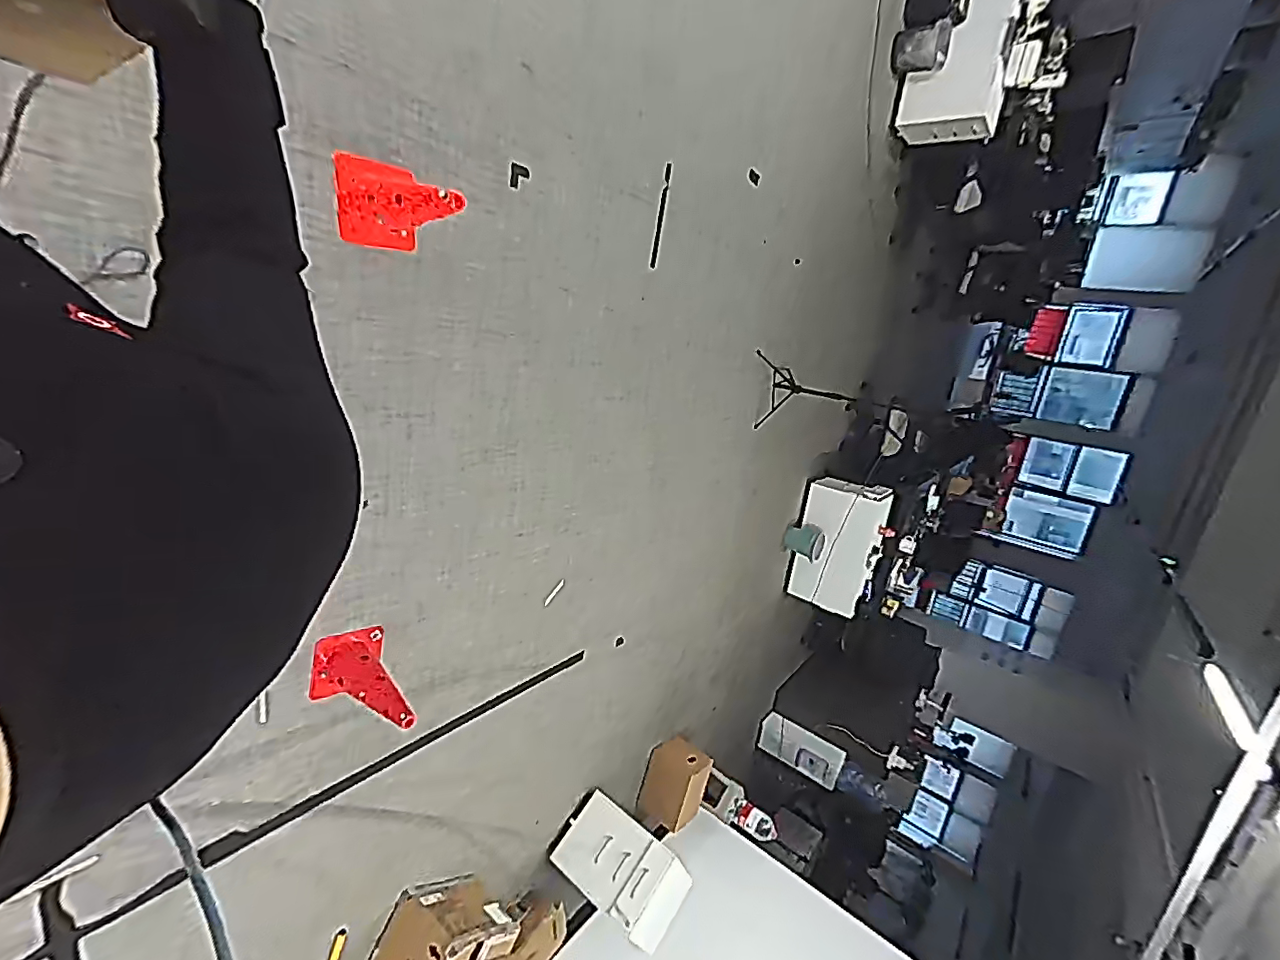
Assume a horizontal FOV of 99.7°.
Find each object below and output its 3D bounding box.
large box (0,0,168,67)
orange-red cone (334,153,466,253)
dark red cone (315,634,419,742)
[{"bbox_3d":[-0.540,-0.476,0.256,0.408,0.320,0.320,-13,118,-51],"label":"large box"},{"bbox_3d":[-0.530,-0.647,1.262,0.198,0.360,0.199,-15,116,-51],"label":"orange-red cone"},{"bbox_3d":[-0.738,0.610,1.523,0.201,0.394,0.202,-1,106,-52],"label":"dark red cone"}]
